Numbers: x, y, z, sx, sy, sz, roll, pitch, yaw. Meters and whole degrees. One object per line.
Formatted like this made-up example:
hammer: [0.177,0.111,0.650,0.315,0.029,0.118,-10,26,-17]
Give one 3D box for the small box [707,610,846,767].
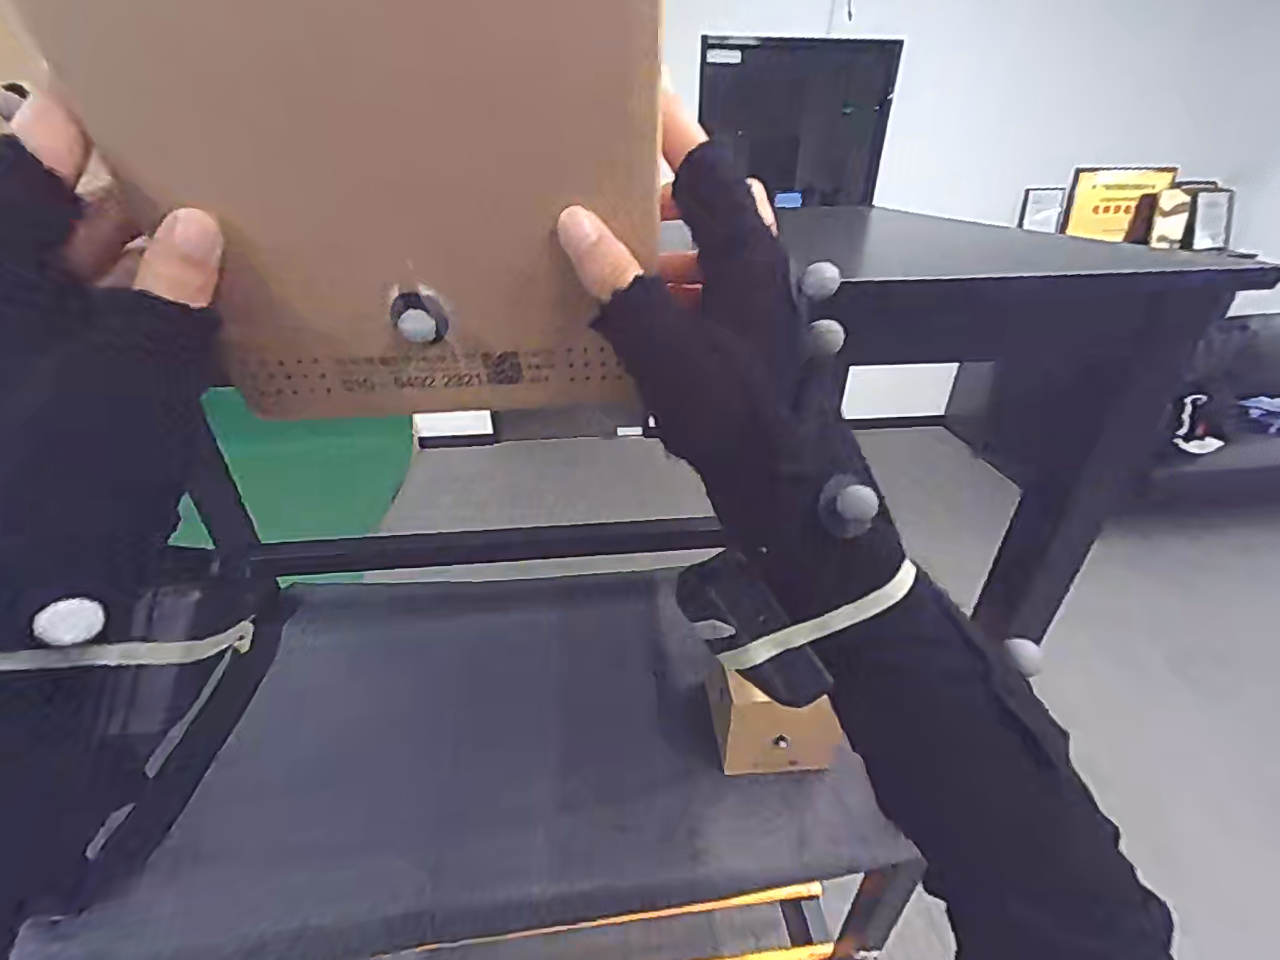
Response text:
small box: [0.202,0.330,0.852,0.168,0.176,0.179,-1,29,-3]
